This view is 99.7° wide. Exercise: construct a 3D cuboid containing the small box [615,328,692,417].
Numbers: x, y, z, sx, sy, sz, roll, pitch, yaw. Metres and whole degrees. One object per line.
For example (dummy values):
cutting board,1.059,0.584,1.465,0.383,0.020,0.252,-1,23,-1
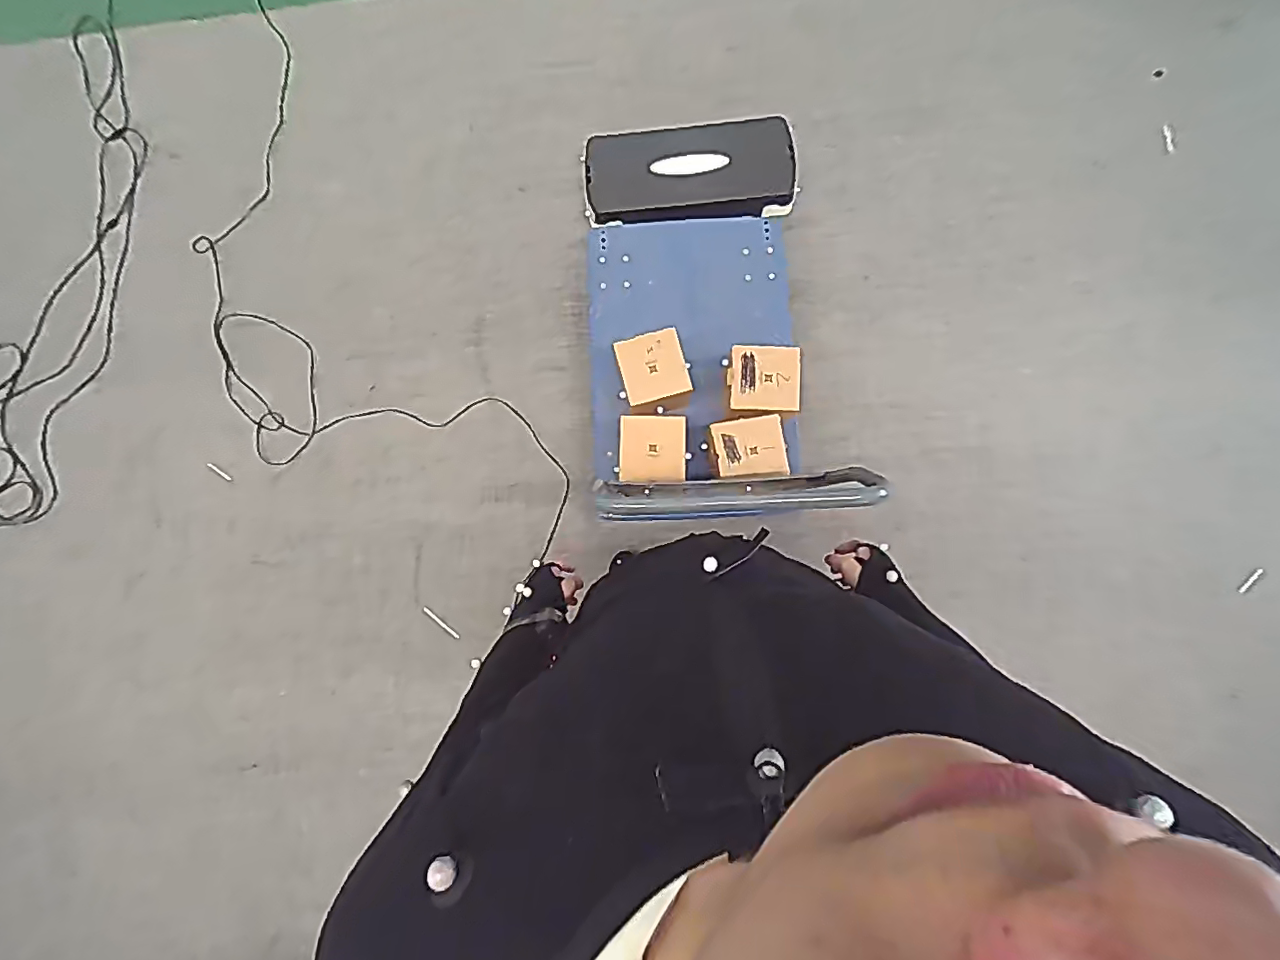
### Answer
small box,0.036,-0.276,1.444,0.168,0.176,0.179,-15,83,-1
